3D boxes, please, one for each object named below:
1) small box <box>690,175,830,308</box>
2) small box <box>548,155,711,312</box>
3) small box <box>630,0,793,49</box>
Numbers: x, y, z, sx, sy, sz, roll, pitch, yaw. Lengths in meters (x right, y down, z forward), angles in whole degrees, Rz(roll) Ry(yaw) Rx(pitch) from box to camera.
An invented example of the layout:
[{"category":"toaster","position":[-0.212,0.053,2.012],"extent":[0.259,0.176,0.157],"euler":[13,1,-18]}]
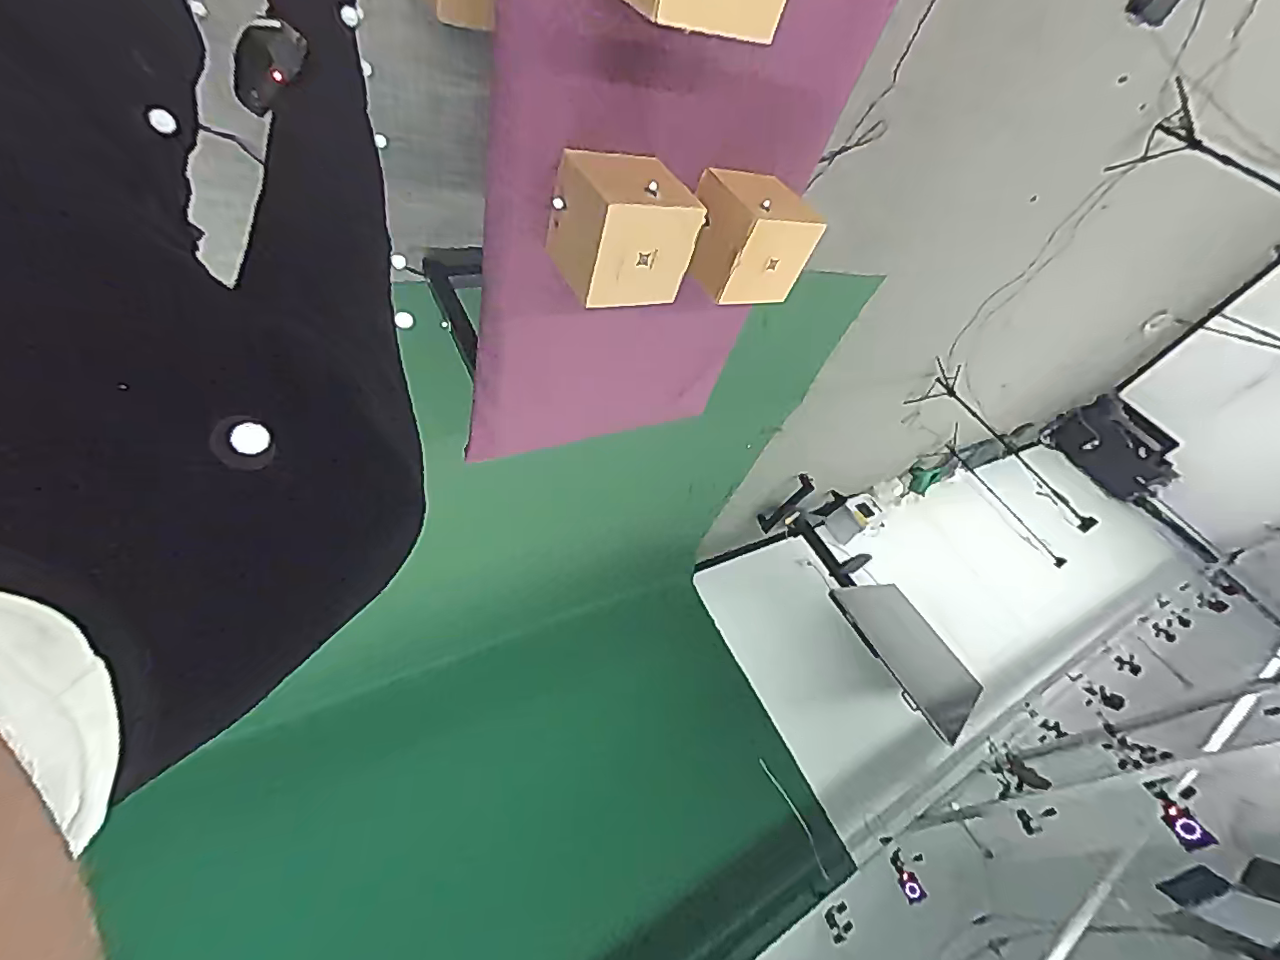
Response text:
[{"category":"small box","position":[0.204,-0.441,1.005],"extent":[0.179,0.176,0.168],"euler":[-12,147,-30]},{"category":"small box","position":[-0.025,-0.390,0.861],"extent":[0.179,0.176,0.168],"euler":[-14,147,-30]},{"category":"small box","position":[0.072,-0.611,0.590],"extent":[0.179,0.176,0.168],"euler":[-16,150,-29]}]
